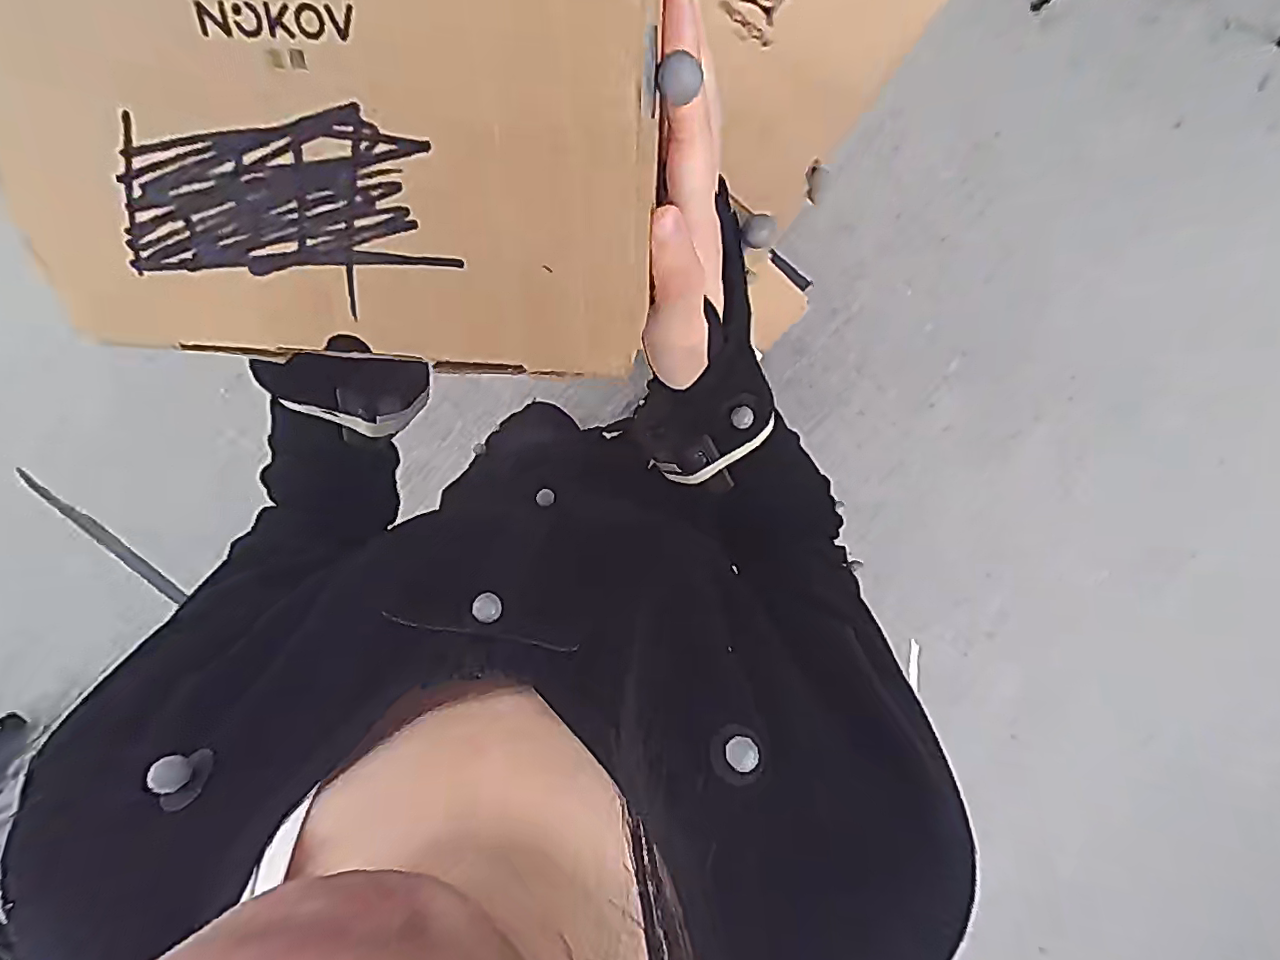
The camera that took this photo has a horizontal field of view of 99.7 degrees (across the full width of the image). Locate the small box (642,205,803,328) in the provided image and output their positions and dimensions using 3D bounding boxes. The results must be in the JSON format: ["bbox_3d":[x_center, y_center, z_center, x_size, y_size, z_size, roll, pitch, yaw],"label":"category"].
[{"bbox_3d":[0.080,-0.326,0.720,0.168,0.176,0.179,42,99,-4],"label":"small box"}]

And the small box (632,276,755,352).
[{"bbox_3d":[0.092,-0.363,1.044,0.179,0.176,0.168,41,99,-5],"label":"small box"}]

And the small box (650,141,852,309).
[{"bbox_3d":[0.075,-0.304,0.557,0.168,0.176,0.179,40,99,-4],"label":"small box"}]

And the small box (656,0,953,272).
[{"bbox_3d":[0.072,-0.281,0.394,0.168,0.176,0.179,40,100,-4],"label":"small box"}]

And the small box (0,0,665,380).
[{"bbox_3d":[-0.077,-0.149,0.189,0.168,0.176,0.179,3,119,2],"label":"small box"}]
